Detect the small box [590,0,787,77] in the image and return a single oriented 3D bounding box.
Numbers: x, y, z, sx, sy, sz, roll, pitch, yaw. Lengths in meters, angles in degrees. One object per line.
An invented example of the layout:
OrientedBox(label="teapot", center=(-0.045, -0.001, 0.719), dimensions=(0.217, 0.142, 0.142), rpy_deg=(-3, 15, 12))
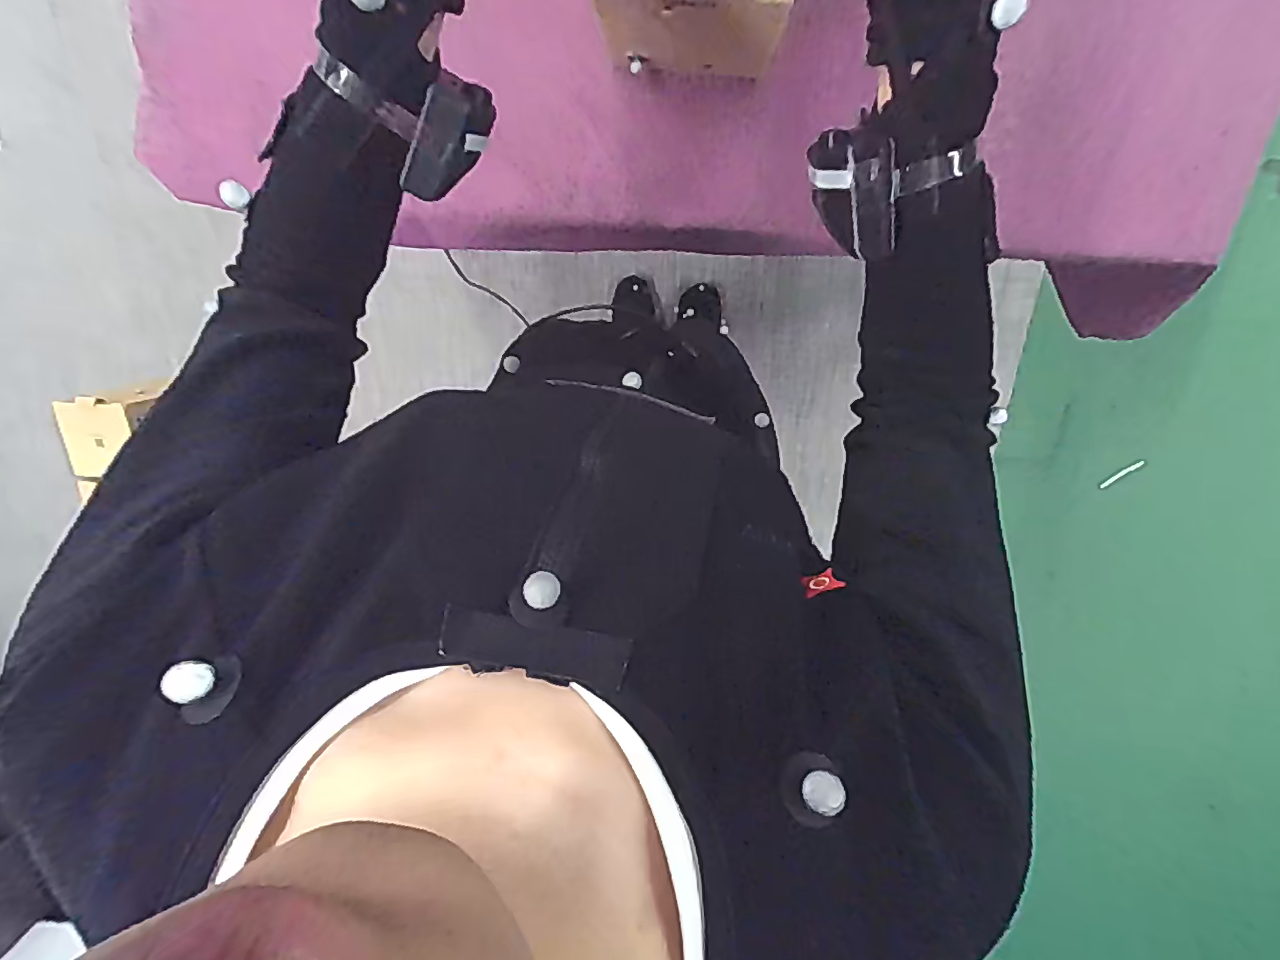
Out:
OrientedBox(label="small box", center=(0.051, -0.490, 0.478), dimensions=(0.168, 0.176, 0.179), rpy_deg=(6, 109, 1))
